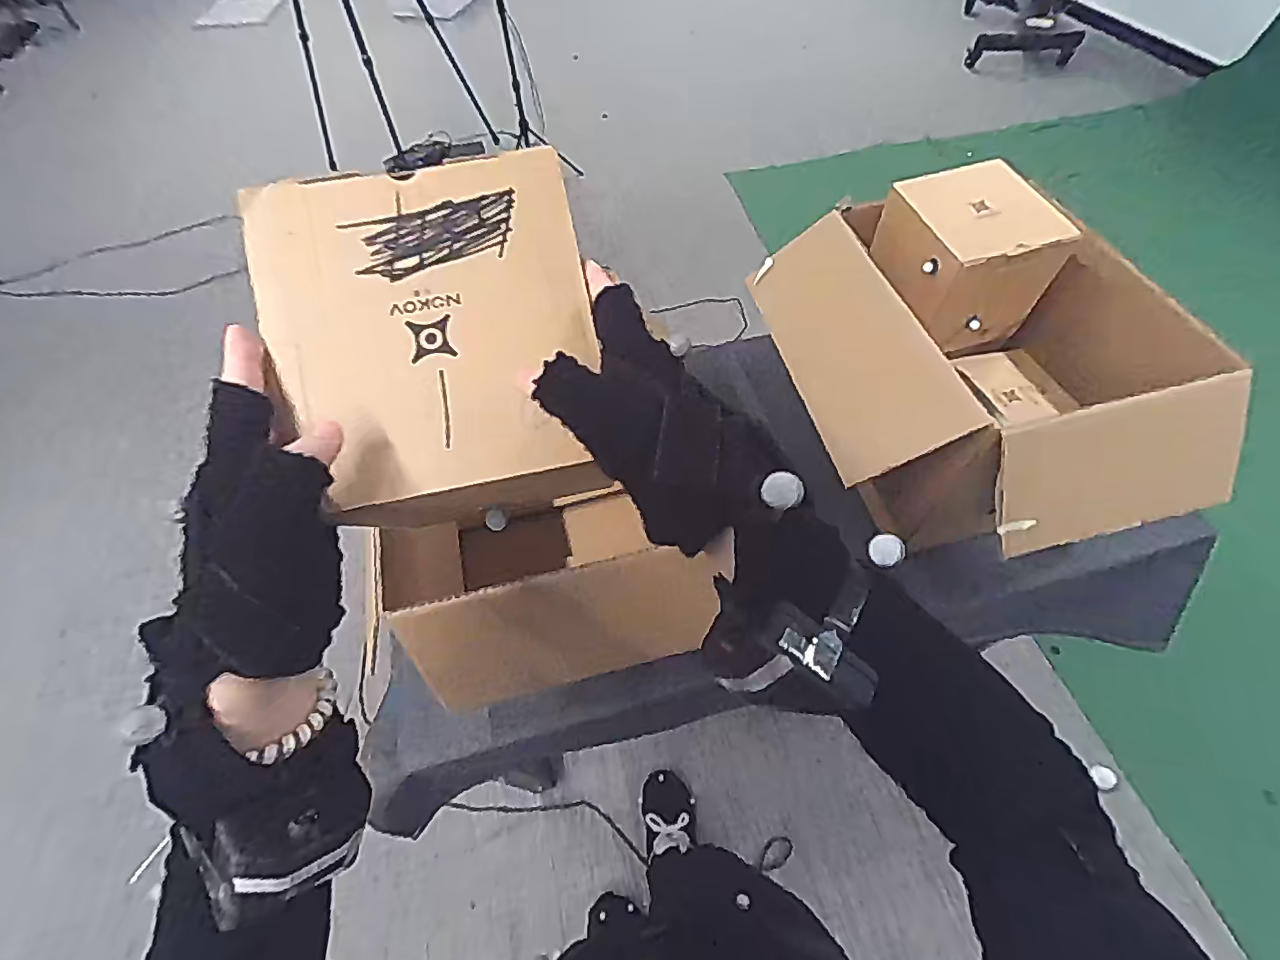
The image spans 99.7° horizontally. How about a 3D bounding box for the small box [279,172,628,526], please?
[{"bbox_3d":[-0.108,-0.070,0.371,0.168,0.176,0.179,-11,85,-6],"label":"small box"}]
